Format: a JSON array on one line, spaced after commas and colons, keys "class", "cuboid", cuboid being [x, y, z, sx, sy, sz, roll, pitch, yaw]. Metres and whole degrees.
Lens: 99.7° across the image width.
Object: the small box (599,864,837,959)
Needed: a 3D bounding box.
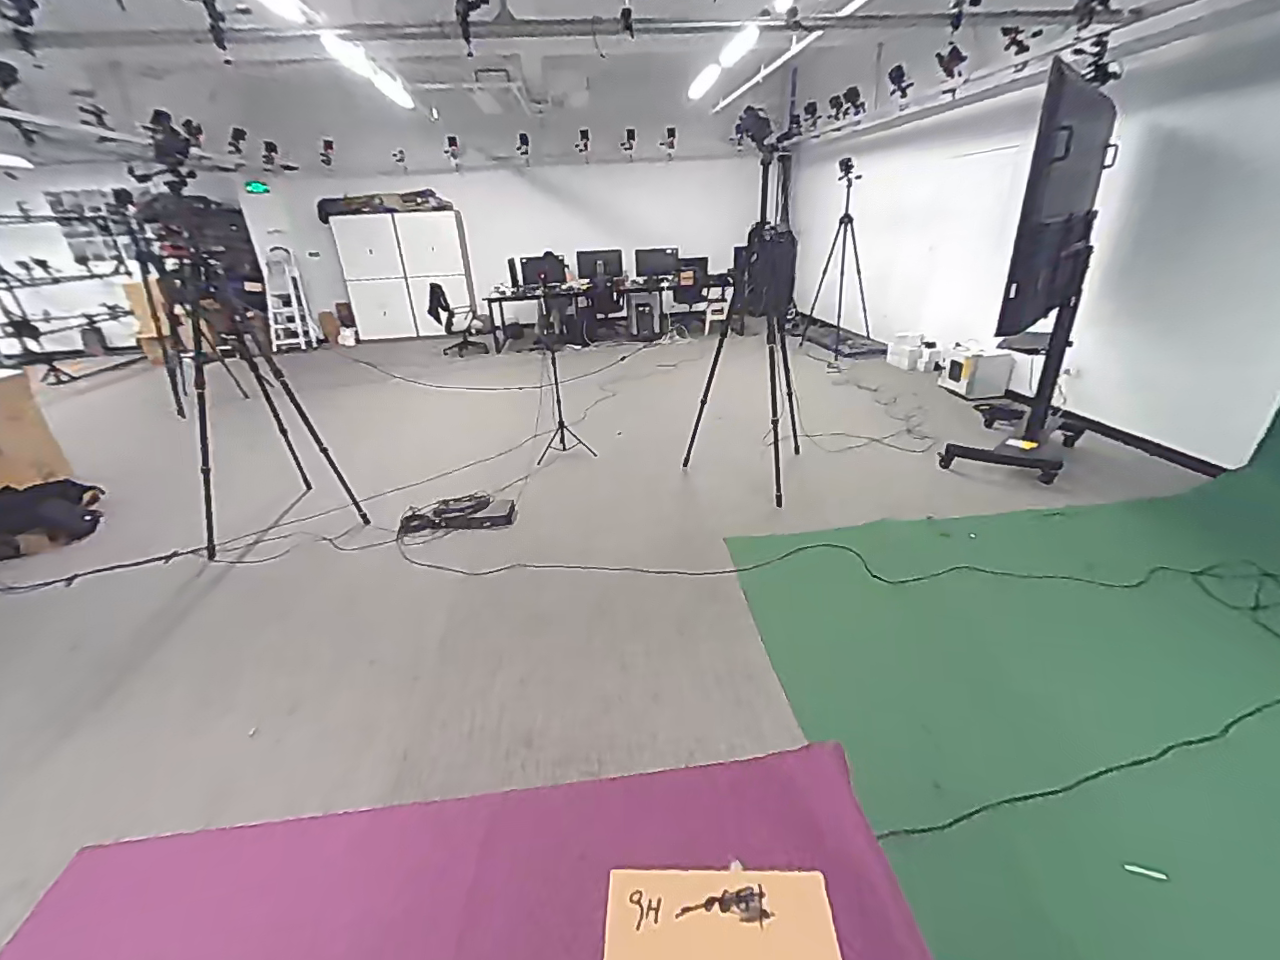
[{"class": "small box", "cuboid": [0.058, 0.413, 0.389, 0.168, 0.176, 0.179, -2, 33, 5]}]
